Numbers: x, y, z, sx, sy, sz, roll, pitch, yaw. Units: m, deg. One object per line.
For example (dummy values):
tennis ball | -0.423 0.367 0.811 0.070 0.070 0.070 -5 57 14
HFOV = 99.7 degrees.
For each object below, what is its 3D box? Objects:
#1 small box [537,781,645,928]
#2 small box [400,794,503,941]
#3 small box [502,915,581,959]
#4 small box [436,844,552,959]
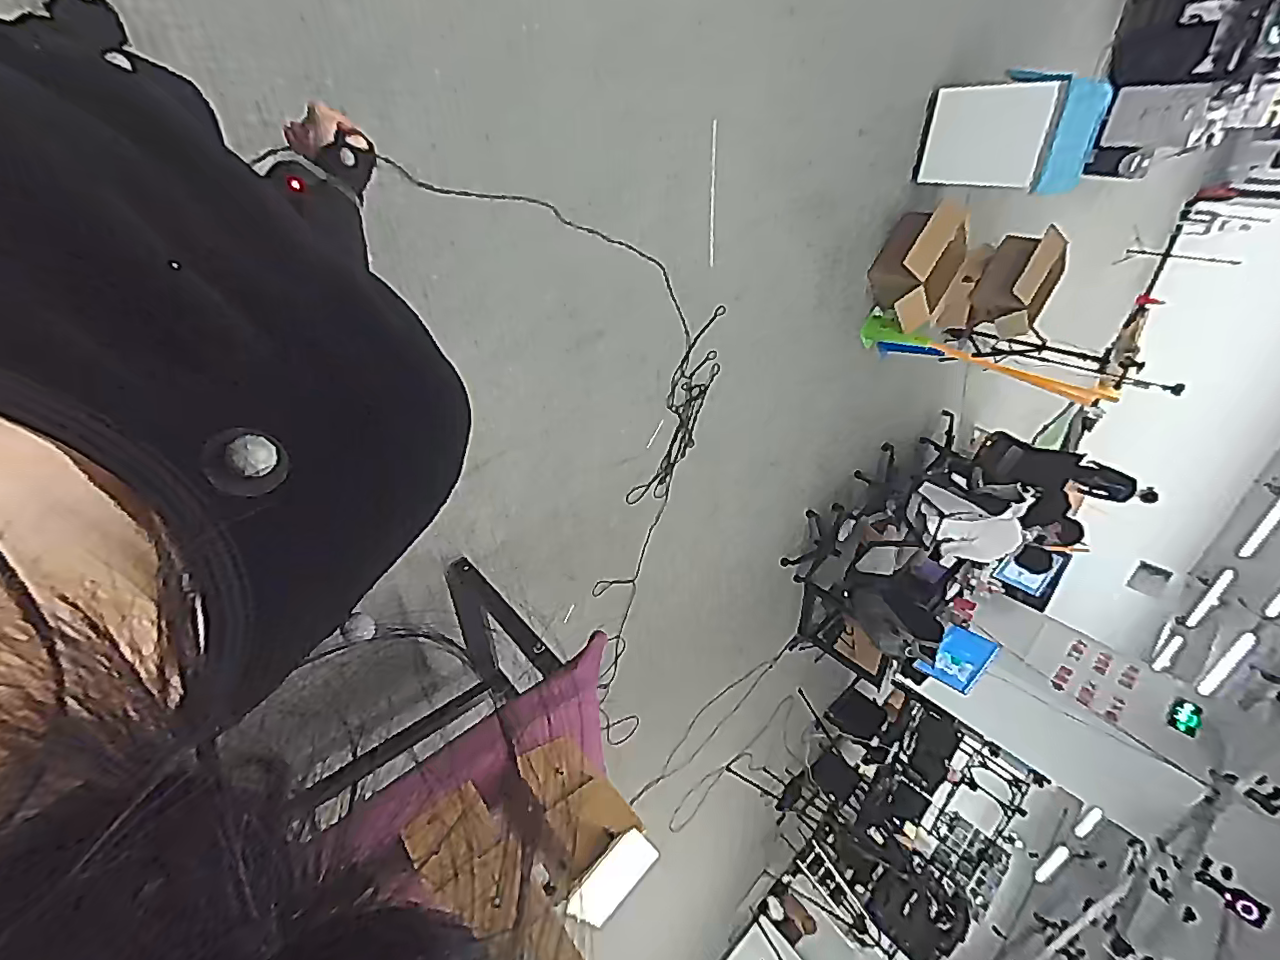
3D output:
small box | -0.116 0.837 1.225 0.179 0.176 0.168 -14 122 -42
small box | -0.401 0.831 1.180 0.168 0.176 0.179 -25 130 -34
small box | -0.179 0.950 0.969 0.179 0.176 0.168 -25 131 -33
small box | -0.287 0.884 1.073 0.179 0.176 0.168 -25 131 -33
